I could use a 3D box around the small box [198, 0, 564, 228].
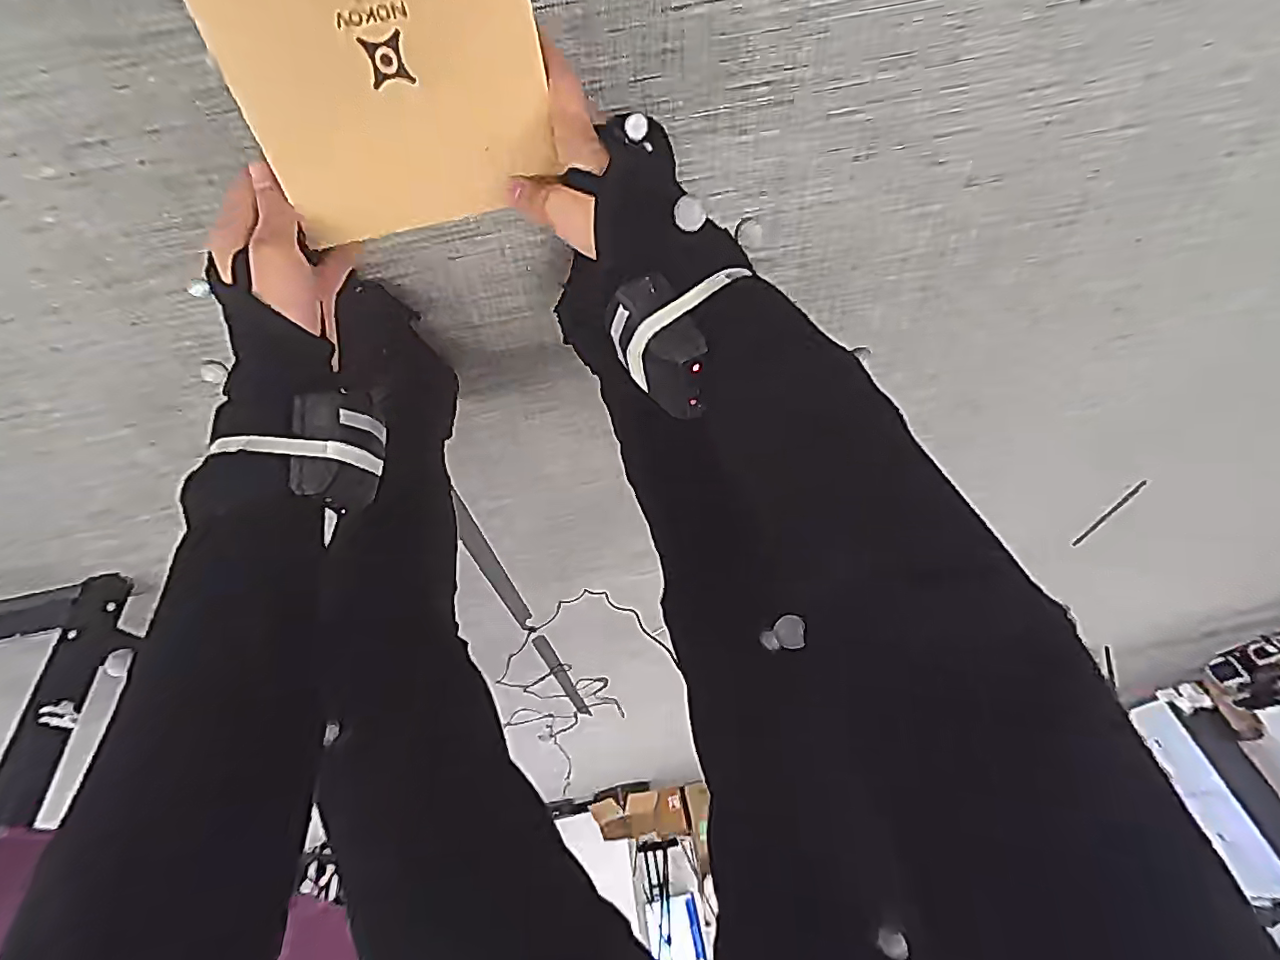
[{"bbox_3d":[-0.151,-0.288,0.344,0.168,0.176,0.179,-14,132,-4],"label":"small box"}]
